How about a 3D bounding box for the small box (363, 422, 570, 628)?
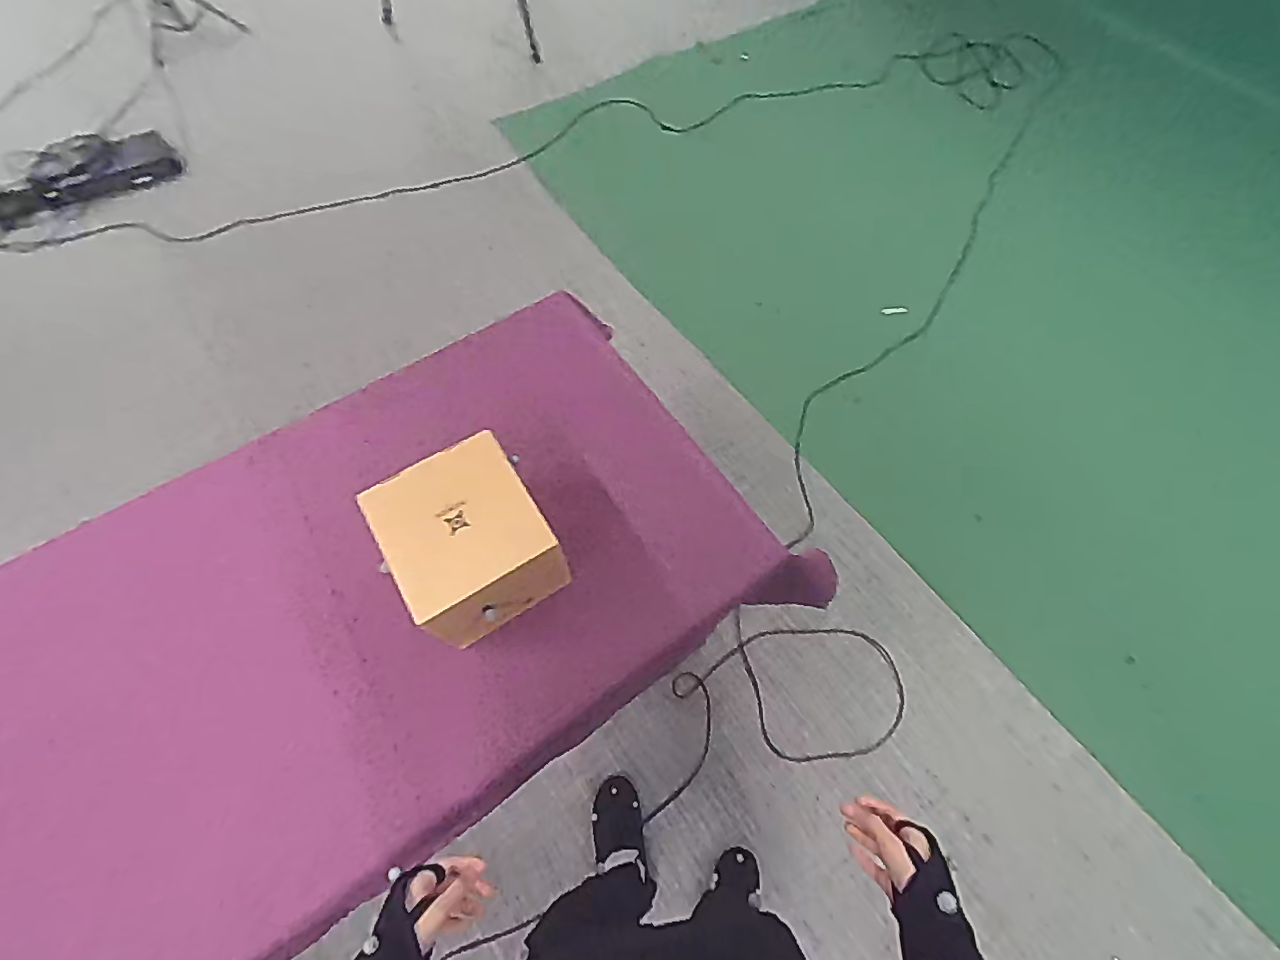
[{"bbox_3d":[-0.202,0.067,0.675,0.168,0.176,0.179,-31,68,-15],"label":"small box"}]
